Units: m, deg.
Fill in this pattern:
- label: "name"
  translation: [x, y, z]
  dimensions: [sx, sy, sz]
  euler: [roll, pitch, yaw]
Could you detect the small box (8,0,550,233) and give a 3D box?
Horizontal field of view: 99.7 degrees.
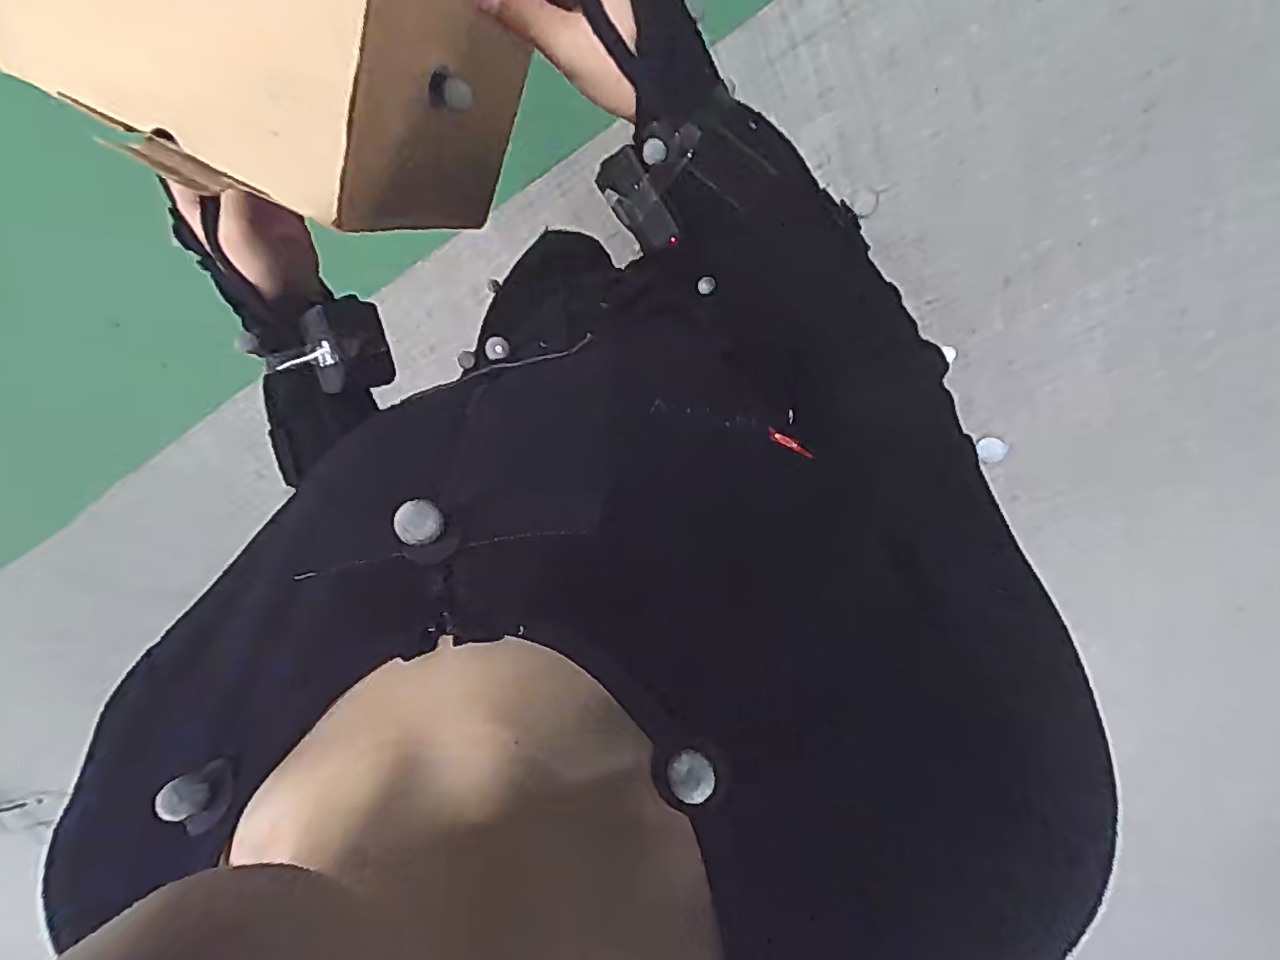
- label: "small box"
  translation: [-0.161, -0.252, 0.281]
  dimensions: [0.168, 0.176, 0.179]
  euler: [25, 117, -3]
